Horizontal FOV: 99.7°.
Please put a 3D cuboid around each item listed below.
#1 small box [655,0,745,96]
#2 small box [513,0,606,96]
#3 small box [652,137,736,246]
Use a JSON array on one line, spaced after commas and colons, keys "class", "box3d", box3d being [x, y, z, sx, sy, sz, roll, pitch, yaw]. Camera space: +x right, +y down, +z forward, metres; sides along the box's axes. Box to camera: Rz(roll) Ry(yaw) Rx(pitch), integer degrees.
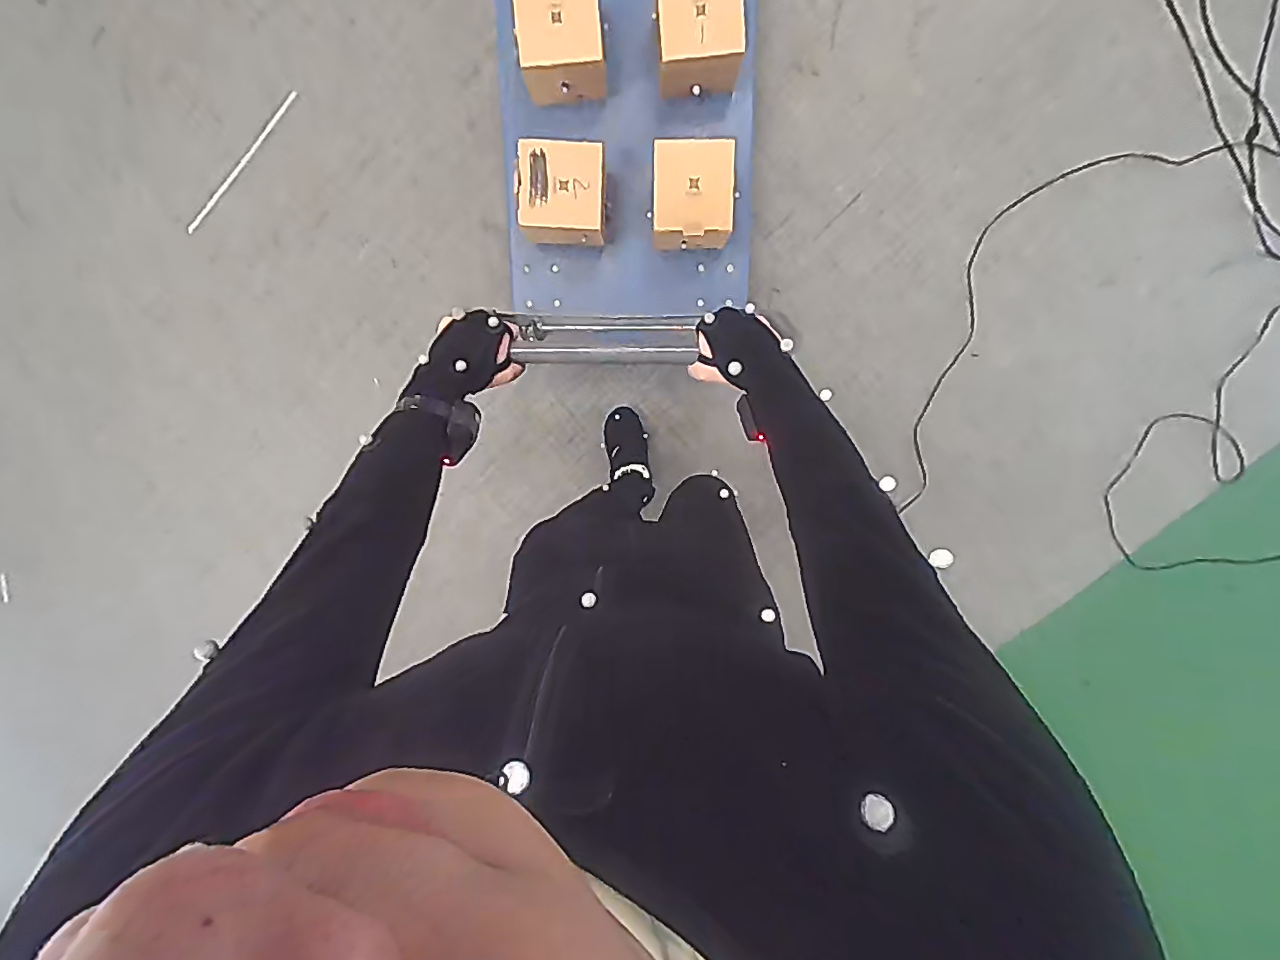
[{"class": "small box", "box3d": [0.118, -0.930, 1.109, 0.168, 0.176, 0.179, -4, 104, 2]}, {"class": "small box", "box3d": [-0.161, -0.921, 1.113, 0.168, 0.176, 0.179, -4, 103, 0]}, {"class": "small box", "box3d": [0.111, -0.622, 1.182, 0.168, 0.176, 0.179, 0, 104, 1]}]
